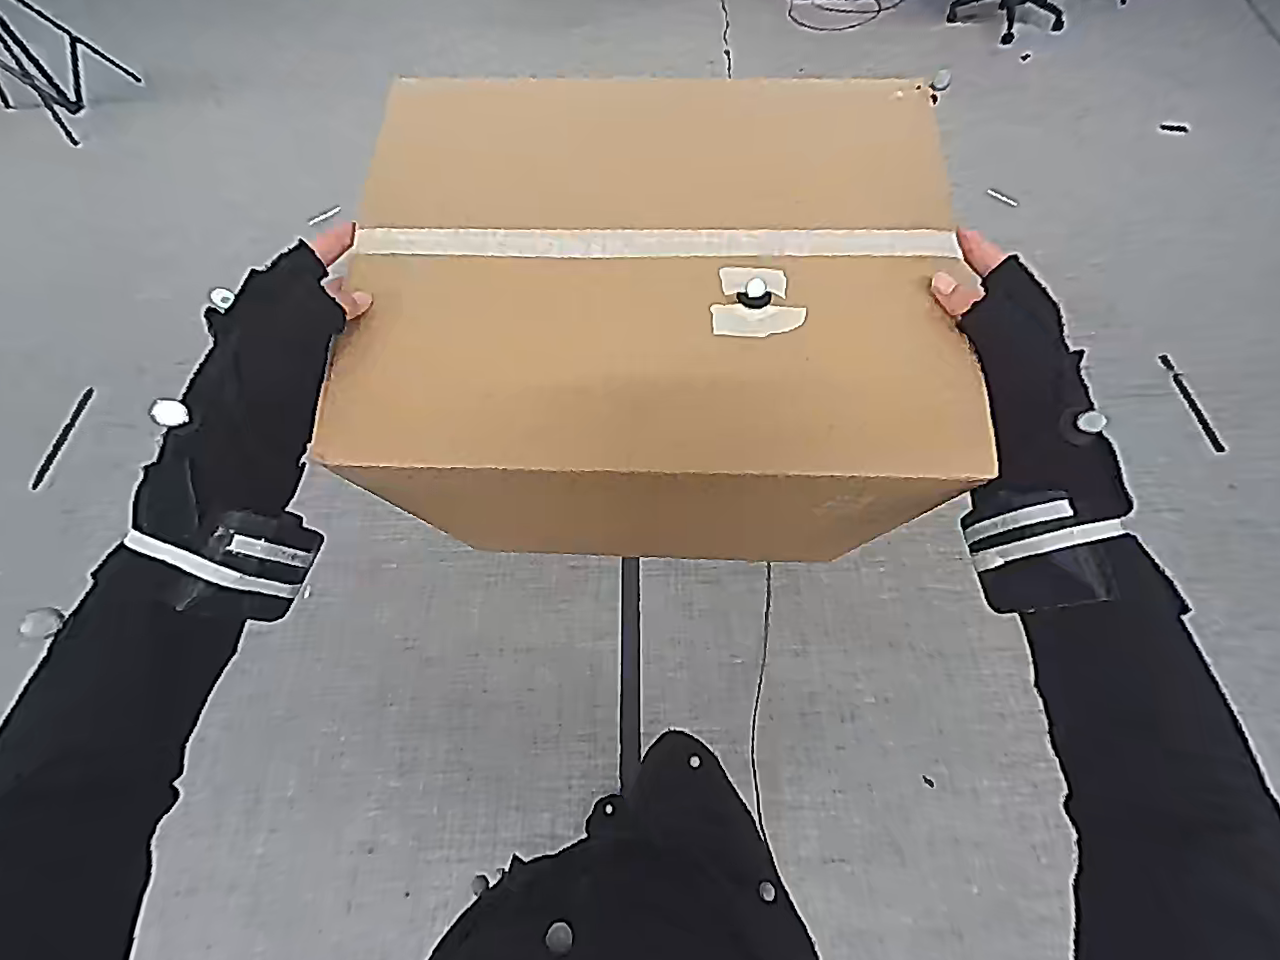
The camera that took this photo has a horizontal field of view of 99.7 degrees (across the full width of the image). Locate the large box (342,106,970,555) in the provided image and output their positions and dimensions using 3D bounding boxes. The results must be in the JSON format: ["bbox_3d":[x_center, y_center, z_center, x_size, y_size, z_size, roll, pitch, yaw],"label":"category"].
[{"bbox_3d":[0.012,-0.107,0.525,0.408,0.320,0.320,1,72,2],"label":"large box"}]
